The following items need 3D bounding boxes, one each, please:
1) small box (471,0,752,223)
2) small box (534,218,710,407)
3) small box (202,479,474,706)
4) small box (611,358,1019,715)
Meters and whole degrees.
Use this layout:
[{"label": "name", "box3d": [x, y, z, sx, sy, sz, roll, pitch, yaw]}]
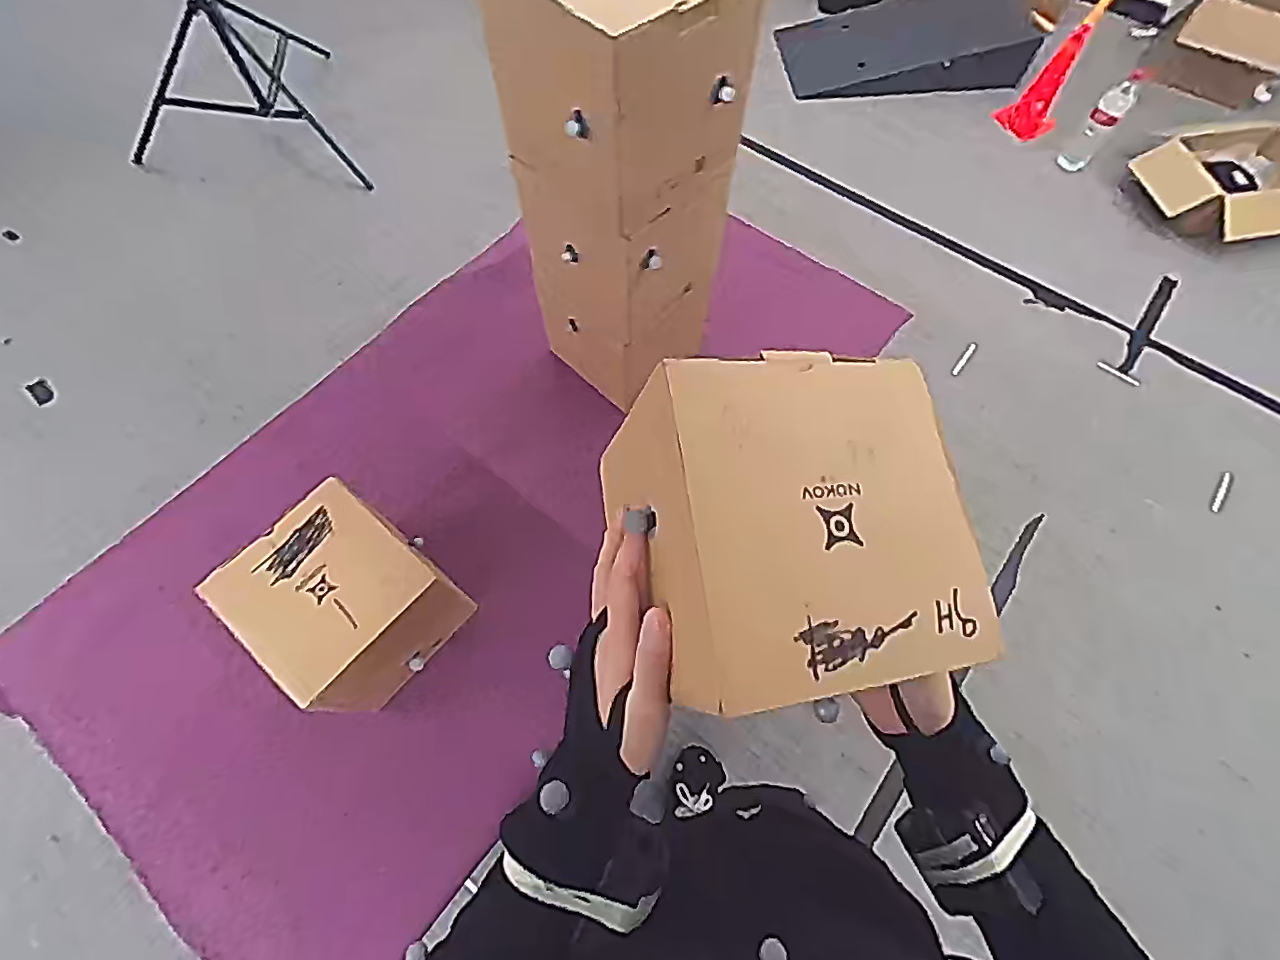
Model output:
[{"label": "small box", "box3d": [-0.020, -0.363, 0.480, 0.168, 0.176, 0.179, -41, 72, -17]}, {"label": "small box", "box3d": [-0.025, -0.239, 0.782, 0.179, 0.176, 0.168, 42, 73, 16]}, {"label": "small box", "box3d": [-0.322, 0.136, 0.615, 0.179, 0.176, 0.168, 38, 71, 14]}, {"label": "small box", "box3d": [0.083, 0.040, 0.349, 0.168, 0.176, 0.179, -4, 74, -16]}]
